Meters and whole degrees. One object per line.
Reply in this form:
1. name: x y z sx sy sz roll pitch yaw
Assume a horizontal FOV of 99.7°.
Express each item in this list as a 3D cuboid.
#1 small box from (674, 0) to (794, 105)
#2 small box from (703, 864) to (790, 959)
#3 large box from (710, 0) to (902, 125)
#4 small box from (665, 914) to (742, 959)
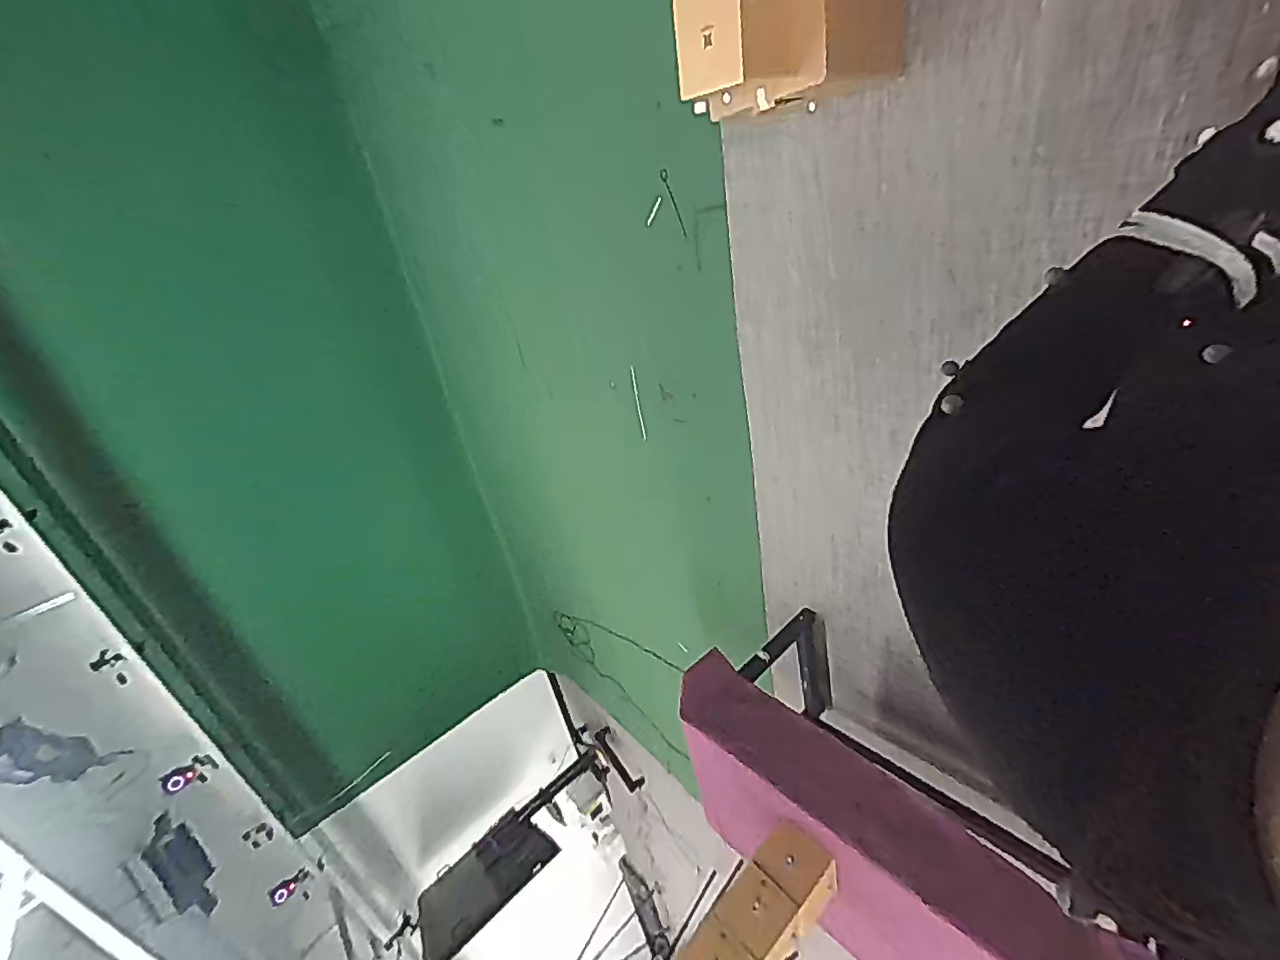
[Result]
1. small box: 0.190 -0.868 1.073 0.168 0.176 0.179 23 130 44
2. small box: 0.292 1.202 1.467 0.168 0.176 0.179 24 133 44
3. large box: 0.349 -1.048 1.175 0.320 0.320 0.408 20 129 47
4. small box: 0.171 1.271 1.378 0.168 0.176 0.179 23 133 44
